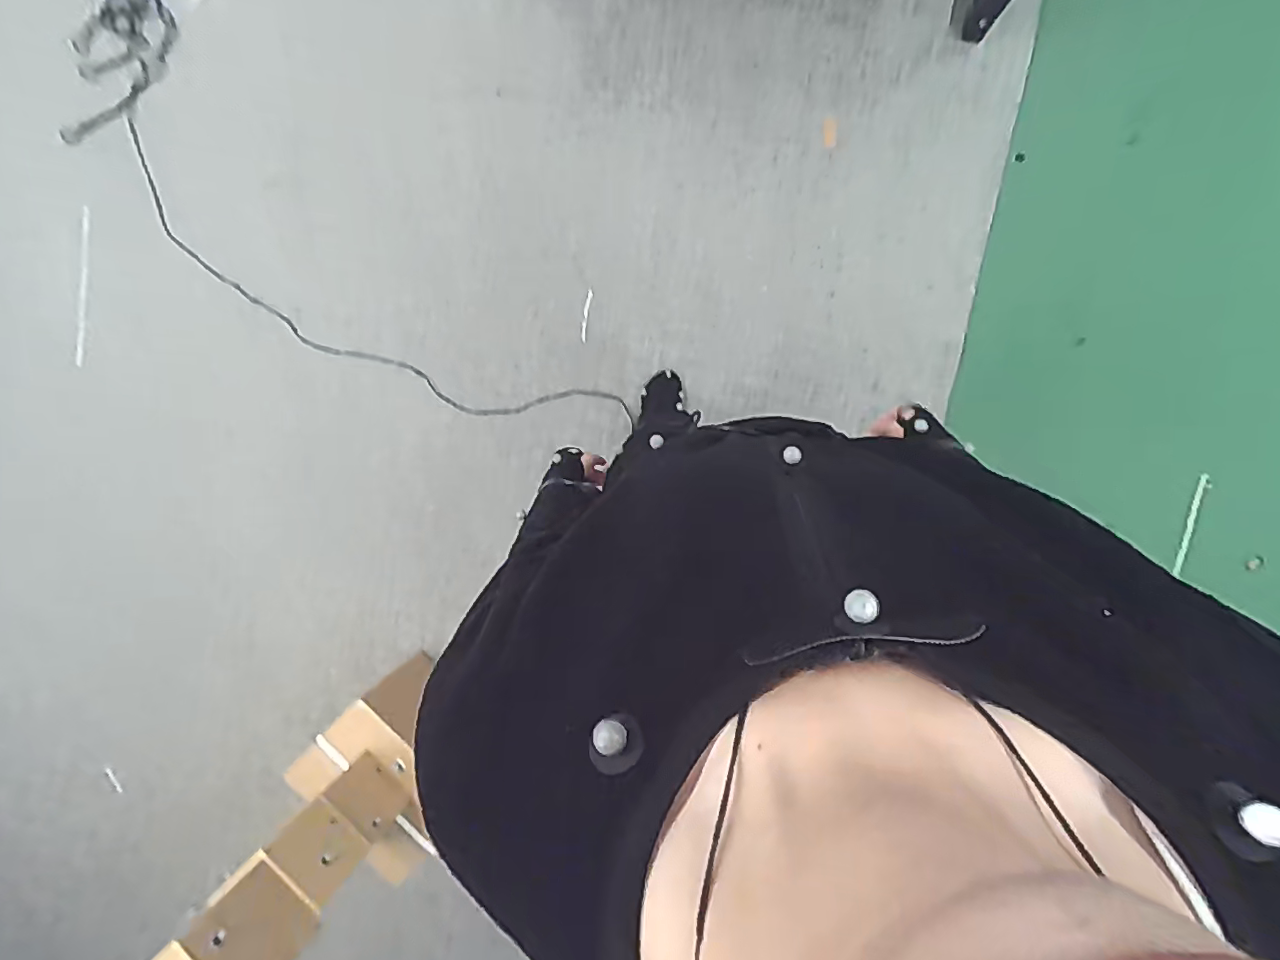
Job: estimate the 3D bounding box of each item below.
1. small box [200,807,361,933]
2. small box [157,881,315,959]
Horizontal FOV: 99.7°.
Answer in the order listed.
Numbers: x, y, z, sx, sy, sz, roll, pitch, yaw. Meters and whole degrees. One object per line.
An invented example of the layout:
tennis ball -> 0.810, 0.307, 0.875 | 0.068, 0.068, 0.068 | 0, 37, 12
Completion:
small box -> -0.689, 0.797, 1.063 | 0.168, 0.176, 0.179 | 45, 98, 1
small box -> -0.701, 0.822, 0.901 | 0.168, 0.176, 0.179 | -43, 89, 8
